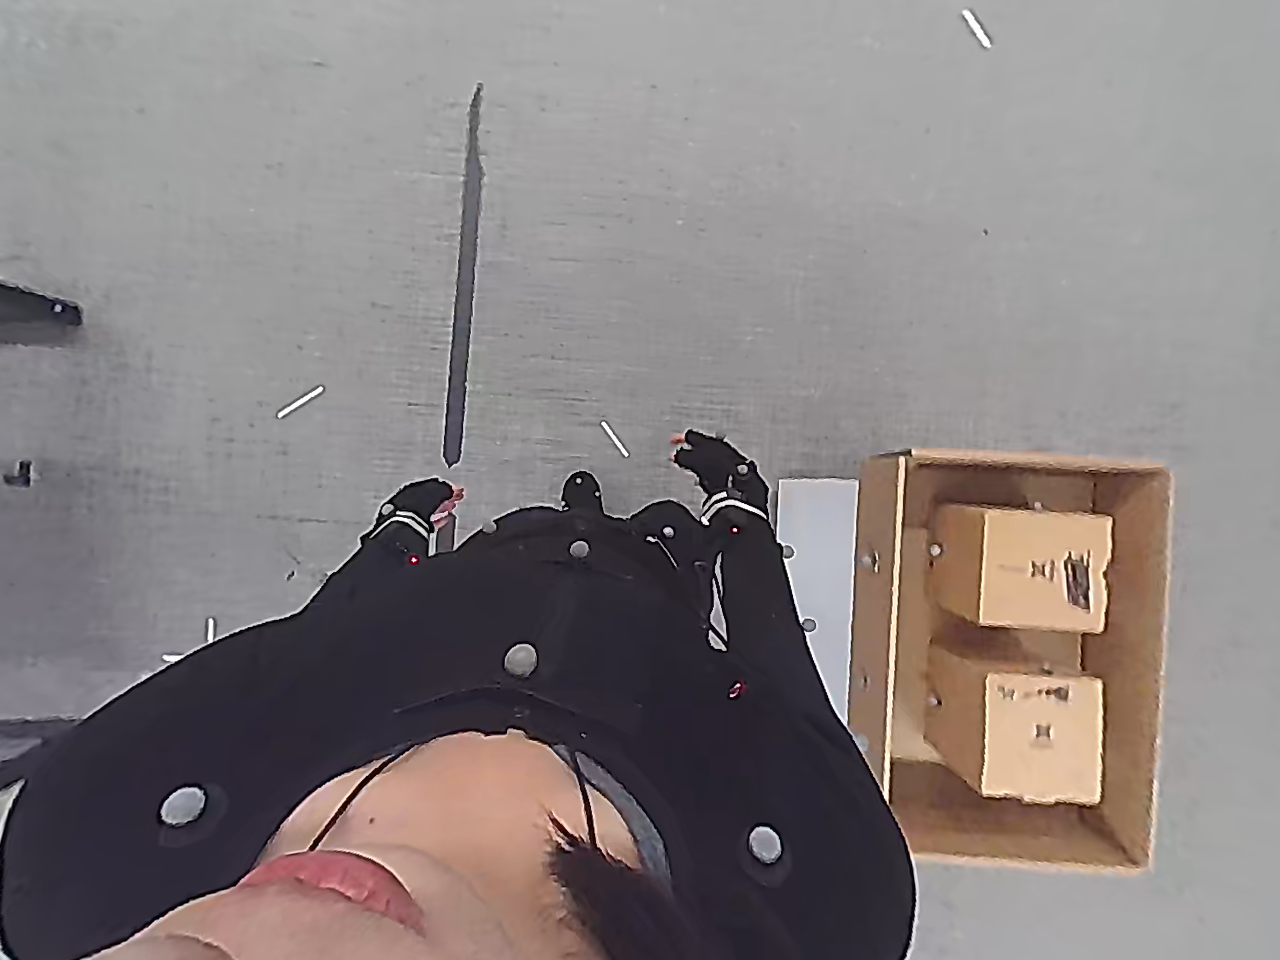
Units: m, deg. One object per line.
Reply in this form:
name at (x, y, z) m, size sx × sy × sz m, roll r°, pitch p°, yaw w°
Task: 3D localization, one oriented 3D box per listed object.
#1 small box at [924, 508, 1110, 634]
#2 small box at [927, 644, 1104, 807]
small box at (0.580, 0.133, 0.851) m, size 0.179 × 0.176 × 0.168 m, roll 3°, pitch 90°, yaw 3°
small box at (0.576, 0.375, 0.851) m, size 0.168 × 0.176 × 0.179 m, roll 4°, pitch 88°, yaw 2°
